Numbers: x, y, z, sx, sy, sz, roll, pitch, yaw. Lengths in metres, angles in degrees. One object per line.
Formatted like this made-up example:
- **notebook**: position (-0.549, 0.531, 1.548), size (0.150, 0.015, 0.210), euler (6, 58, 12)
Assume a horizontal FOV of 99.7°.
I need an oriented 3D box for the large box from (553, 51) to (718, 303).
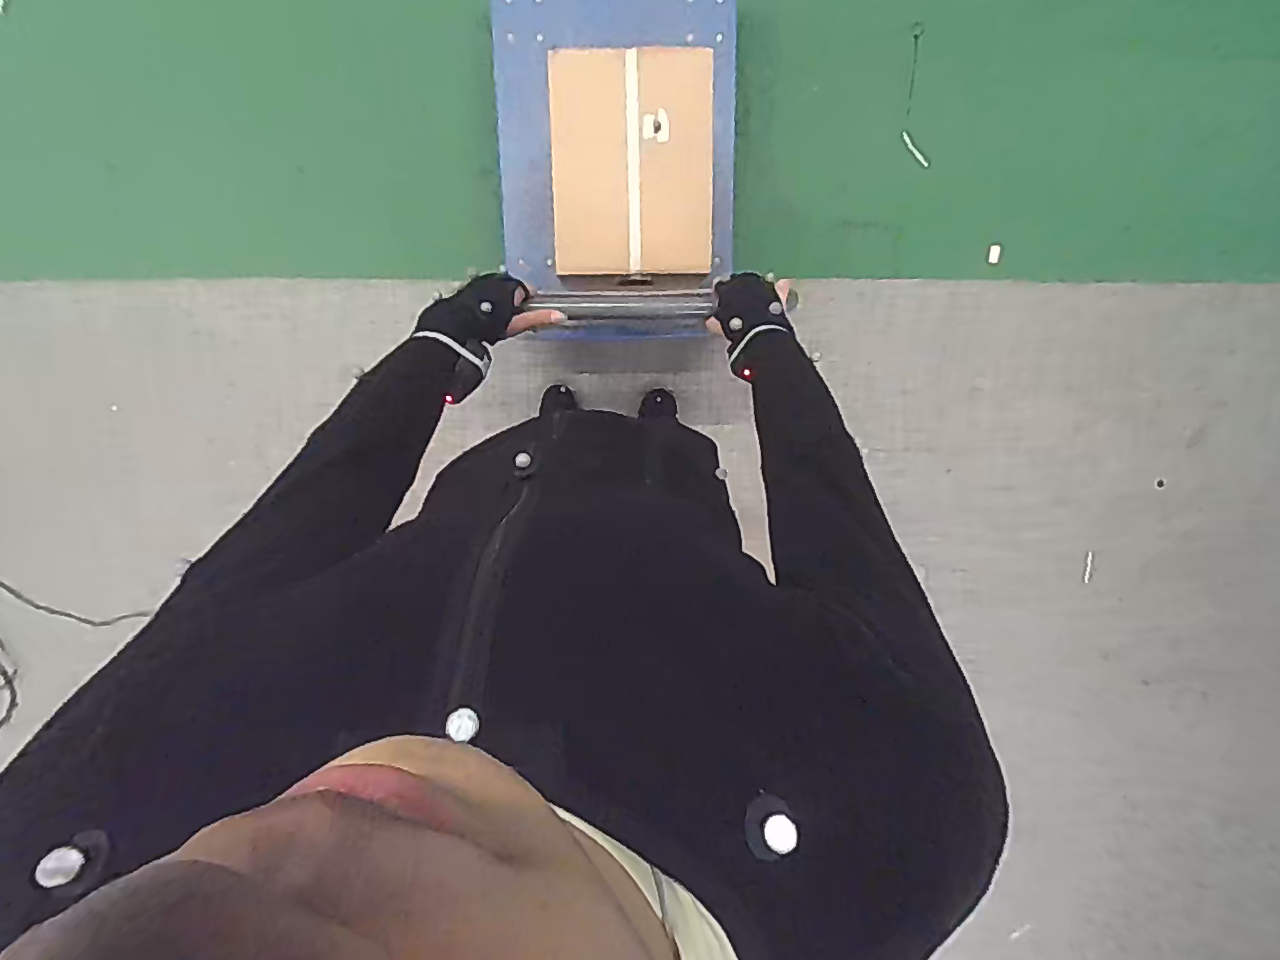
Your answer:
- **large box**: position (-0.008, -0.620, 1.180), size (0.320, 0.320, 0.408), euler (-1, 99, -2)
